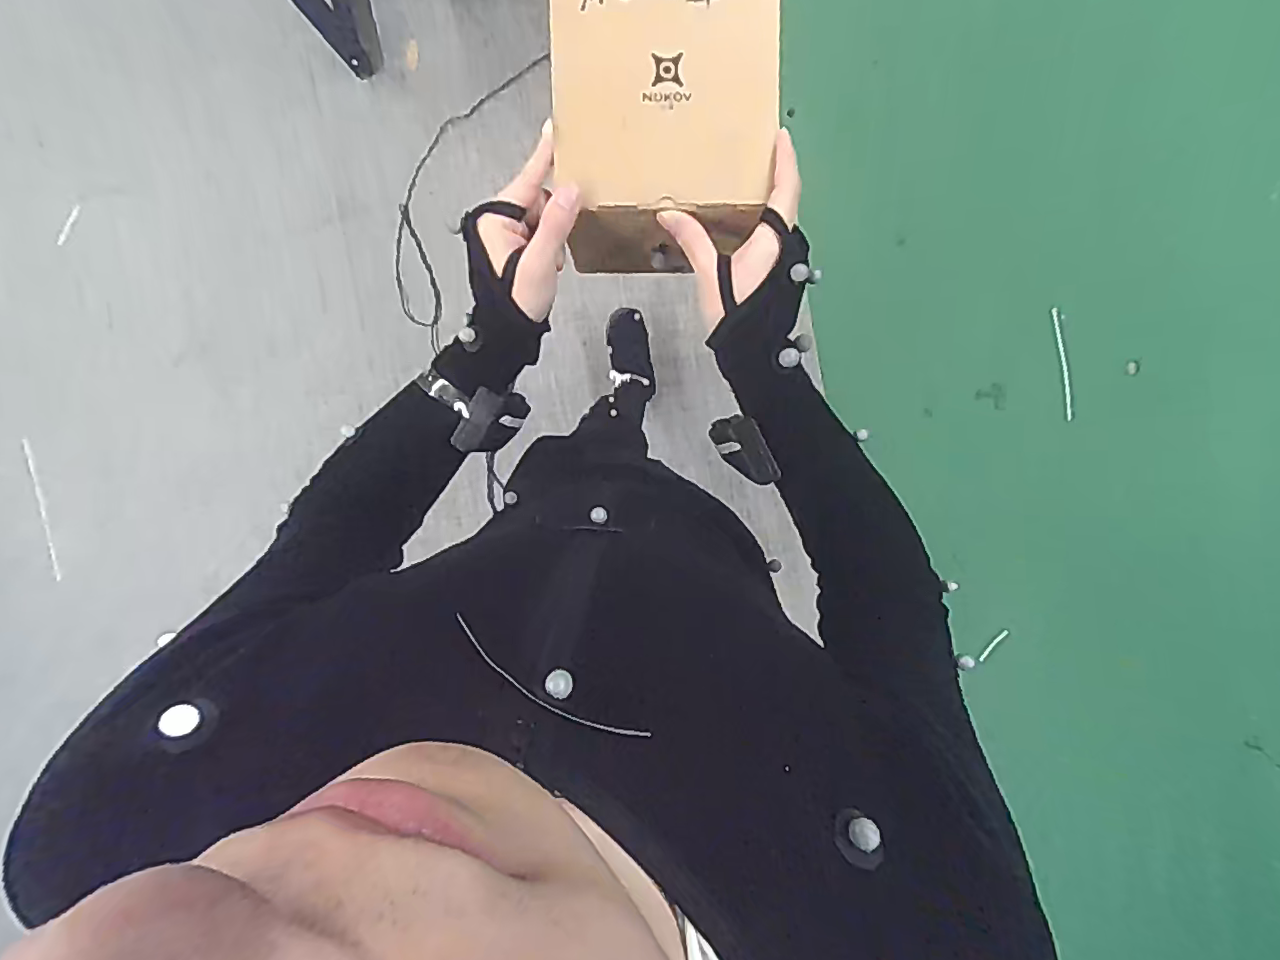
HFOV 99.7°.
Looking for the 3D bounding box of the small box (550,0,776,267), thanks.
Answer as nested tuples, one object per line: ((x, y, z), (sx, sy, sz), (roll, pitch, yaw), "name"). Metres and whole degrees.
((0.017, -0.295, 0.476), (0.168, 0.176, 0.179), (-1, 96, 0), "small box")
